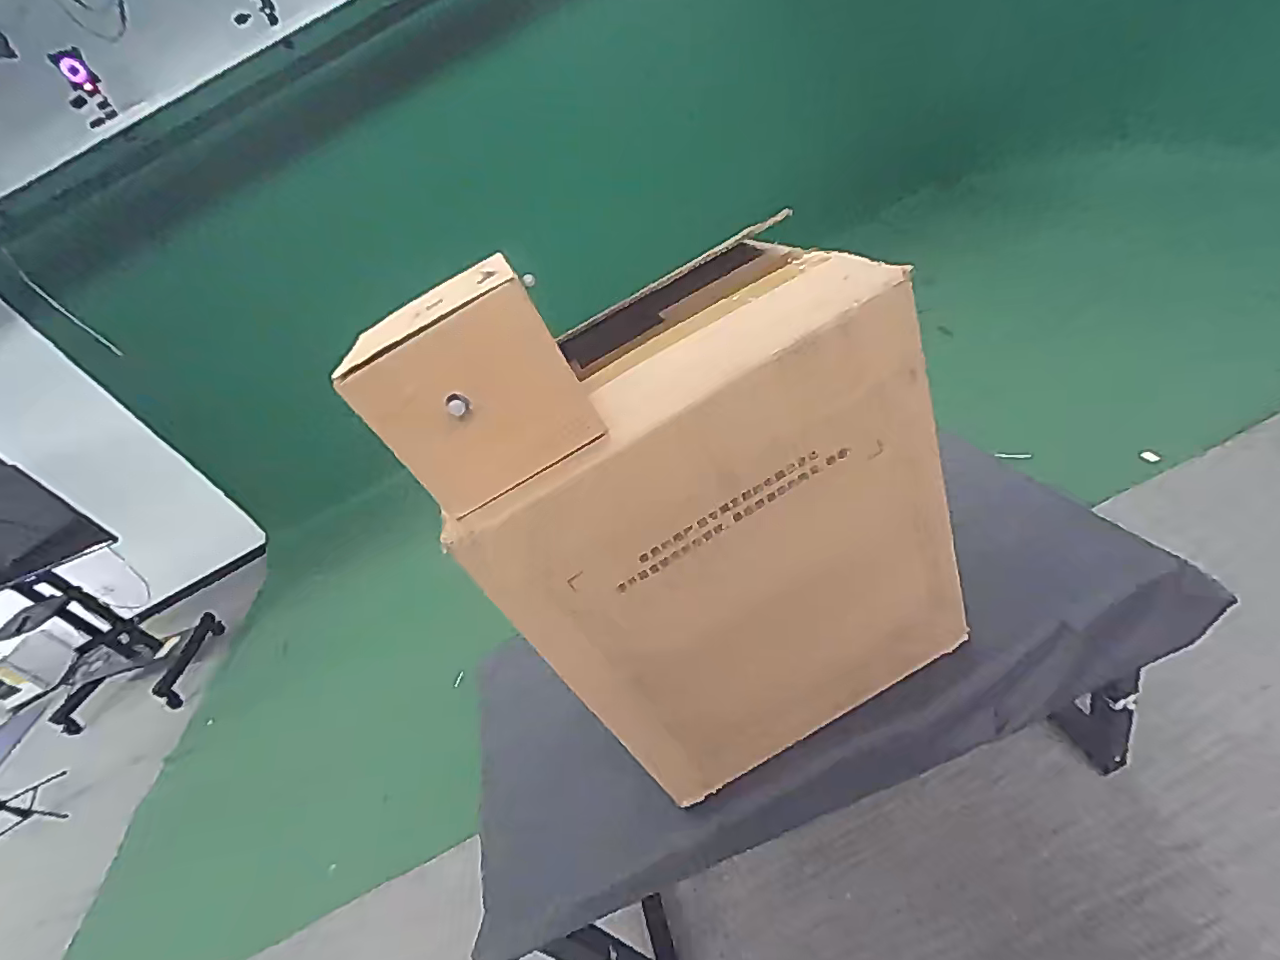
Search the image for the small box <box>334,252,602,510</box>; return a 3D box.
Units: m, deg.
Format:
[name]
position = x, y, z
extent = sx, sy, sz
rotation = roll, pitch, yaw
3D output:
[small box]
position = -0.164, -0.100, 0.551
extent = 0.179, 0.176, 0.168
rotation = -31, 34, 0
